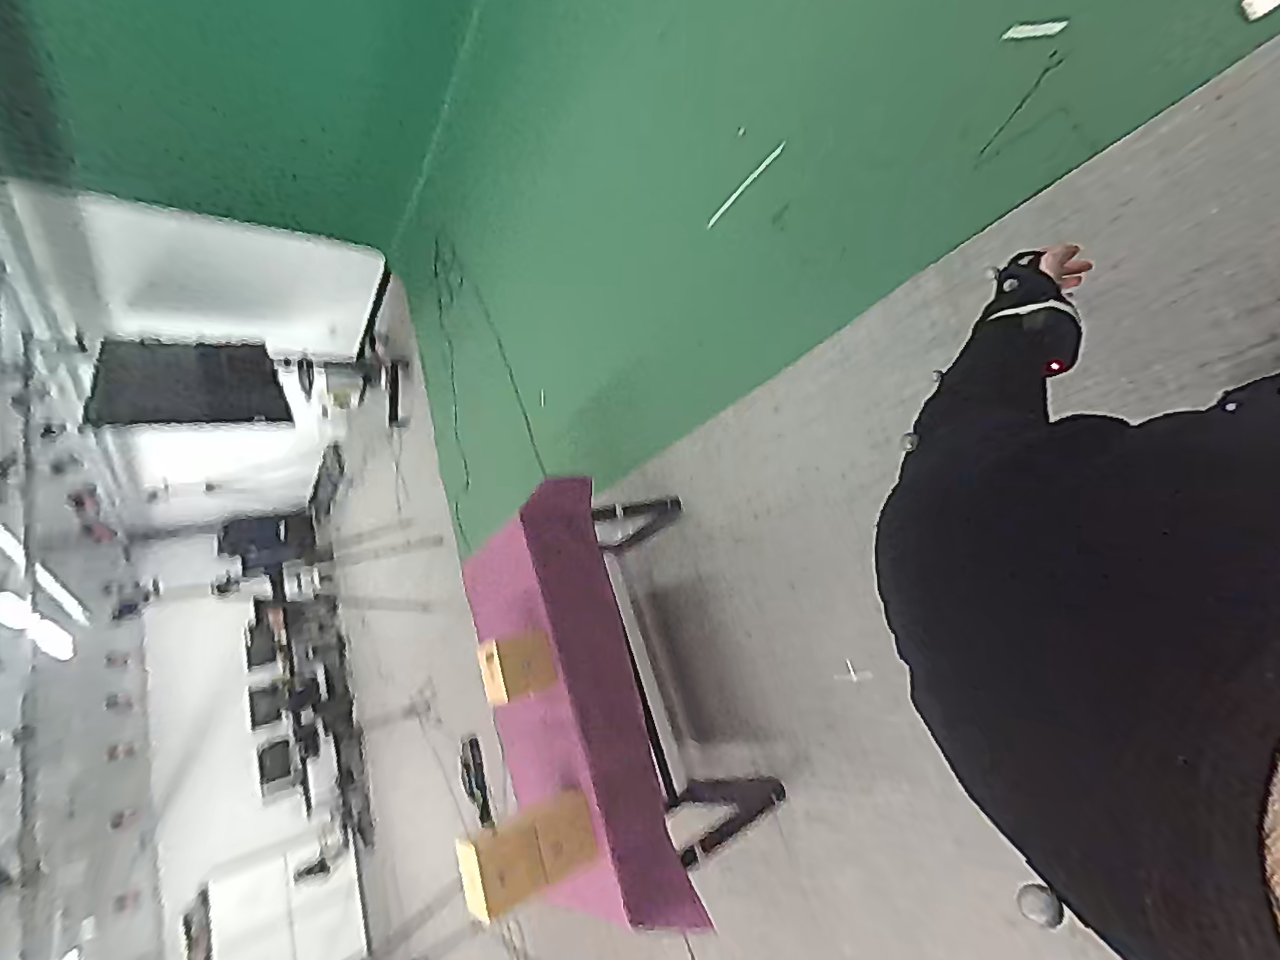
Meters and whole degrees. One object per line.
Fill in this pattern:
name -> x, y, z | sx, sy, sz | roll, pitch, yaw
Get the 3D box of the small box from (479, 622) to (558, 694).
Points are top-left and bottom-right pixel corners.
small box -> -0.378, 0.551, 1.688 | 0.168, 0.176, 0.179 | -33, 70, 48

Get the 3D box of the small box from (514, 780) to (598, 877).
small box -> -0.242, 1.003, 1.572 | 0.168, 0.176, 0.179 | -32, 70, 48

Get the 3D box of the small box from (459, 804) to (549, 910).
small box -> -0.370, 1.012, 1.472 | 0.168, 0.176, 0.179 | -33, 70, 48
